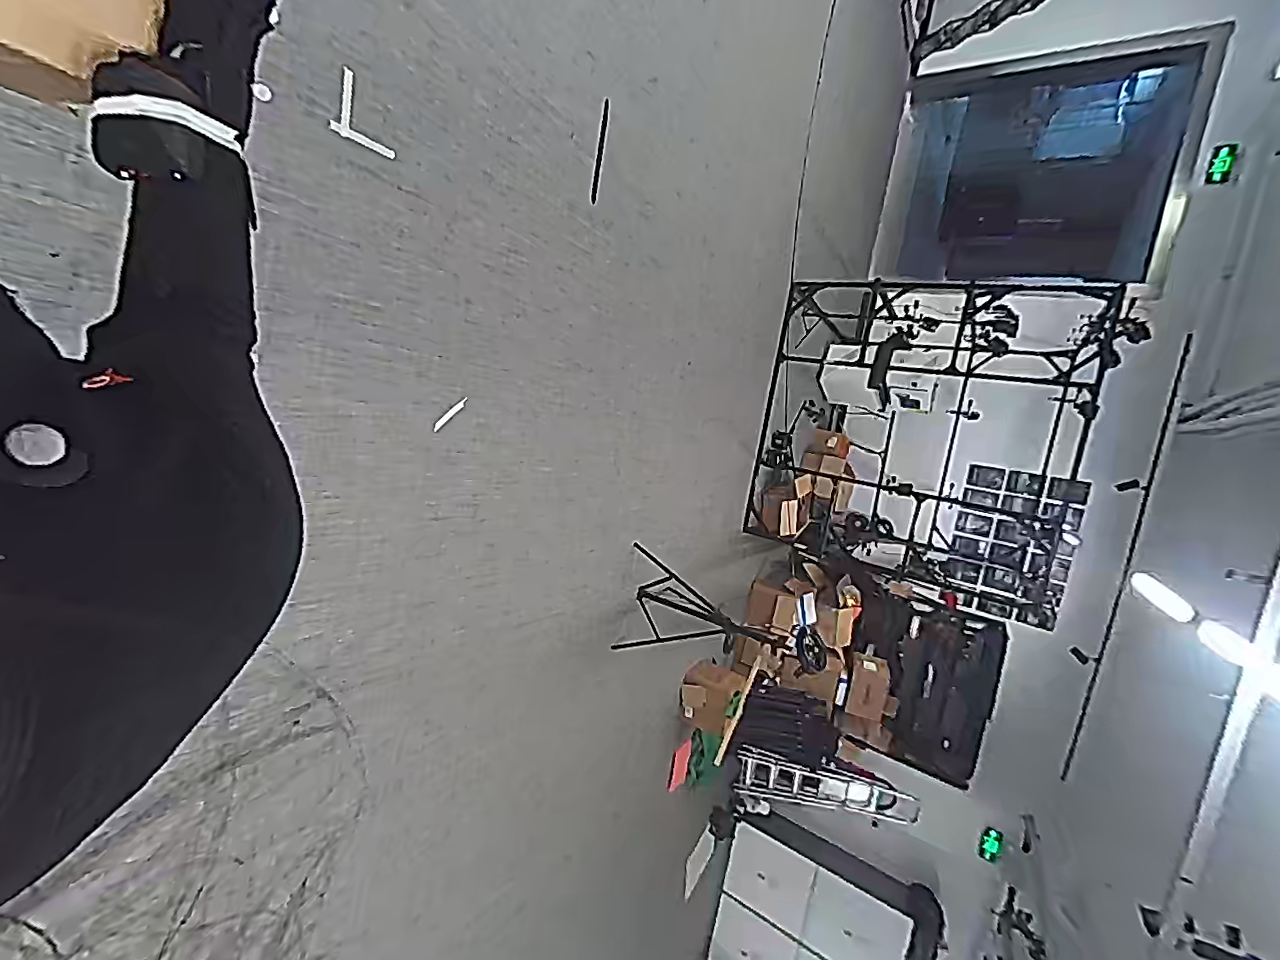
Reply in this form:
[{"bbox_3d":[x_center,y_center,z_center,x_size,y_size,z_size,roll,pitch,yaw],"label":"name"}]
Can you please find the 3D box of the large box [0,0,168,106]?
[{"bbox_3d":[-0.534,-0.465,0.269,0.408,0.320,0.320,0,112,-60],"label":"large box"}]
